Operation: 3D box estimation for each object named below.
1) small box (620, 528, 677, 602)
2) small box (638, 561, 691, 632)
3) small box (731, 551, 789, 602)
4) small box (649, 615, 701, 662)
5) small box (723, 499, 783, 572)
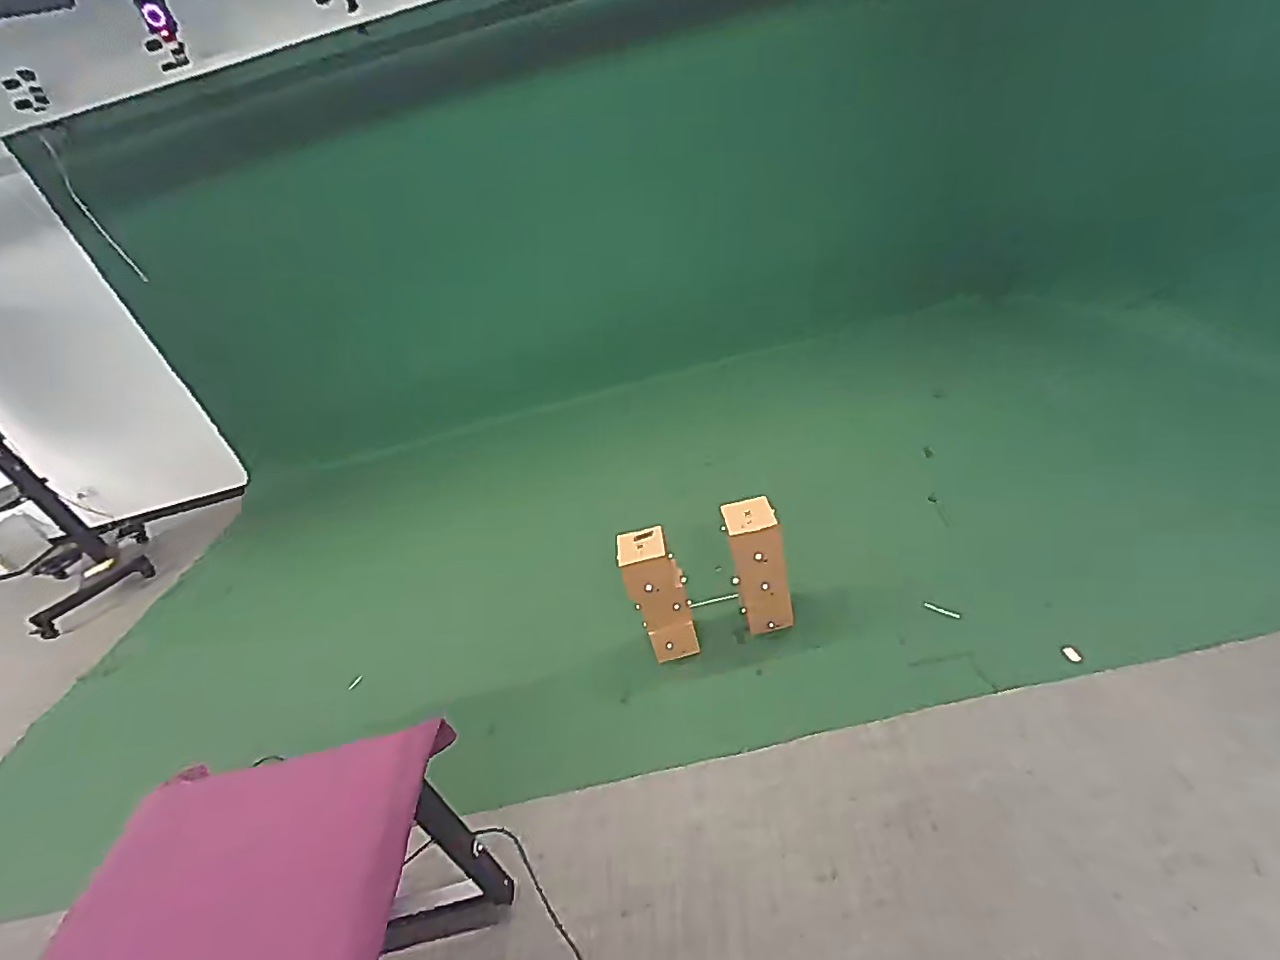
[{"bbox_3d":[0.028,0.301,1.917,0.168,0.176,0.179,-14,30,5],"label":"small box"},{"bbox_3d":[0.085,0.432,1.999,0.179,0.176,0.168,-17,30,1],"label":"small box"},{"bbox_3d":[0.440,0.329,1.988,0.168,0.176,0.179,-13,33,3],"label":"small box"},{"bbox_3d":[0.127,0.573,2.069,0.168,0.176,0.179,-16,30,1],"label":"small box"},{"bbox_3d":[0.397,0.195,1.903,0.168,0.176,0.179,-14,32,5],"label":"small box"}]
